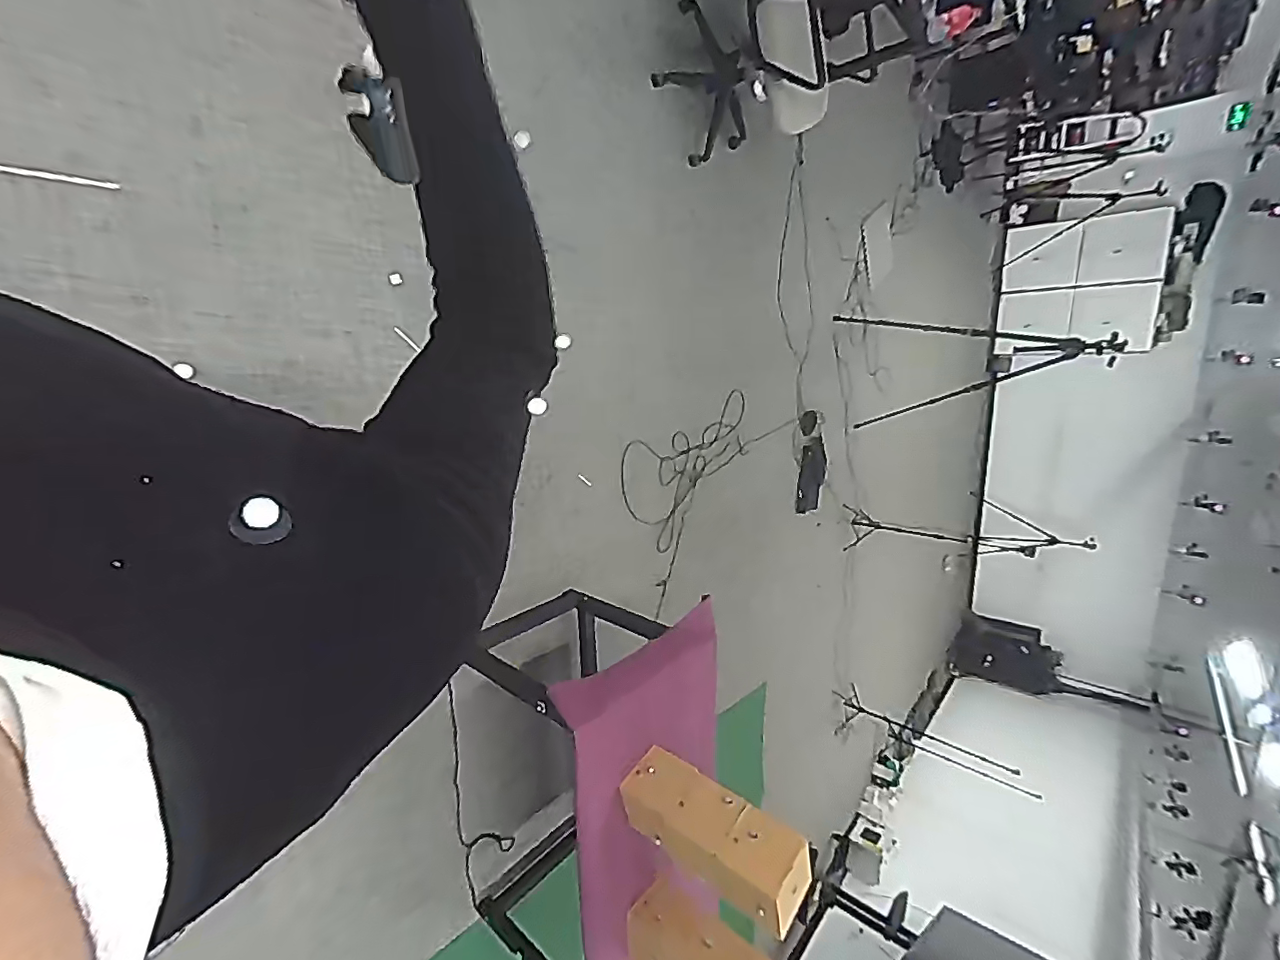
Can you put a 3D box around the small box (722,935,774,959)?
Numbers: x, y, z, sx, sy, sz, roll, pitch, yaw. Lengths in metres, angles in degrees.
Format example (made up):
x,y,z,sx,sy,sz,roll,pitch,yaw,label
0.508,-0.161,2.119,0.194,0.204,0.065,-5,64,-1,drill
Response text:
x,y,z,sx,sy,sz,roll,pitch,yaw,label
0.306,1.417,1.478,0.168,0.176,0.179,-16,108,-47,small box

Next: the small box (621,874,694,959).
x,y,z,sx,sy,sz,roll,pitch,yaw,label
0.053,1.378,1.684,0.168,0.176,0.179,-12,106,-48,small box

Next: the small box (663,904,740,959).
x,y,z,sx,sy,sz,roll,pitch,yaw,label
0.179,1.397,1.582,0.168,0.176,0.179,-14,106,-47,small box

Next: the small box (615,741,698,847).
x,y,z,sx,sy,sz,roll,pitch,yaw,label
0.048,0.912,1.589,0.168,0.176,0.179,-33,121,-42,small box

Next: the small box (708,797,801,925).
x,y,z,sx,sy,sz,roll,pitch,yaw,label
0.292,0.958,1.376,0.168,0.176,0.179,-34,122,-41,small box
